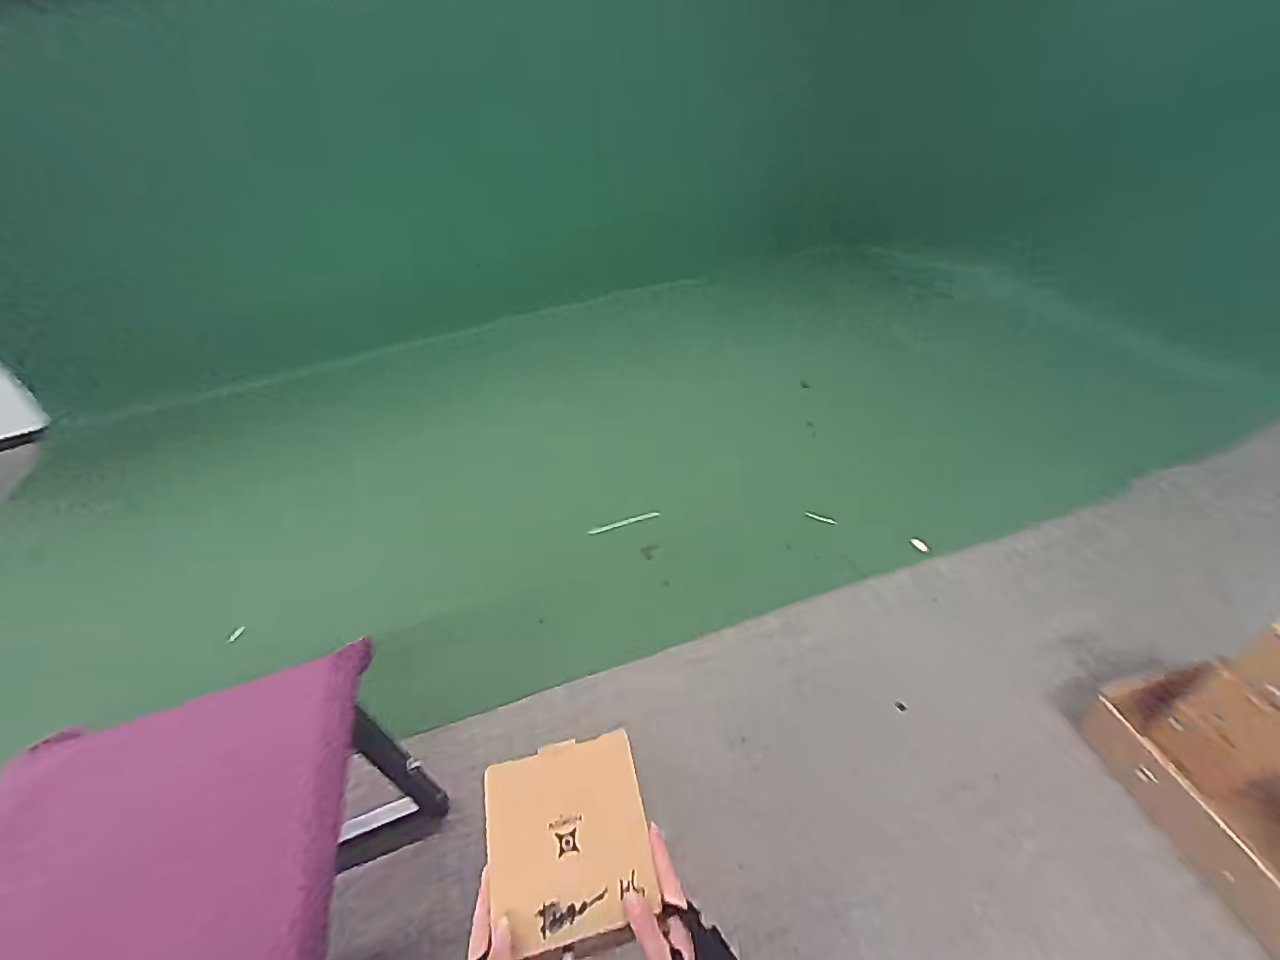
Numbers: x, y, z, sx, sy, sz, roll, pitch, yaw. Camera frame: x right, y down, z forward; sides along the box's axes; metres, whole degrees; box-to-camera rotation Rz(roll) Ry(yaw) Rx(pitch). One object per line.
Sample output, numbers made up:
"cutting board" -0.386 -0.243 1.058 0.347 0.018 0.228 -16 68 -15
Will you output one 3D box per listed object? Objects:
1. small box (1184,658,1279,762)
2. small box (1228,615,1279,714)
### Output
"small box" 1.400 0.499 1.210 0.179 0.176 0.168 -14 41 -5
"small box" 1.387 0.377 1.100 0.179 0.176 0.168 -13 41 -5
